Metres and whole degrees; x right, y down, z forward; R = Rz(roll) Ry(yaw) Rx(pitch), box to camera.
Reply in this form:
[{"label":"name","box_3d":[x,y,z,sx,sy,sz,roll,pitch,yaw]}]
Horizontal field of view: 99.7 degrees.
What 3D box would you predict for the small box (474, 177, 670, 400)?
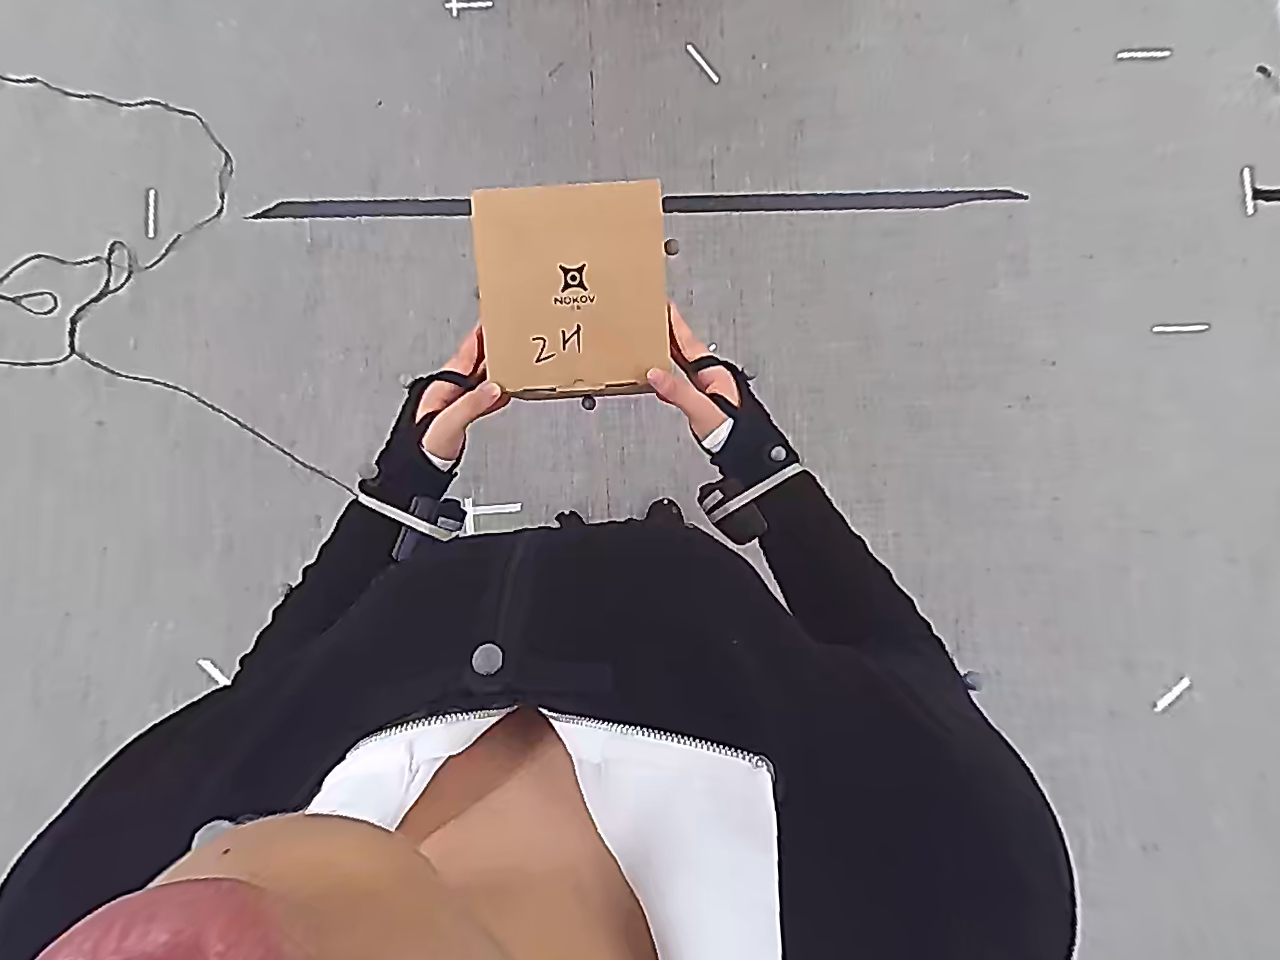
[{"label":"small box","box_3d":[-0.060,-0.179,0.552,0.168,0.176,0.179,-4,96,0]}]
